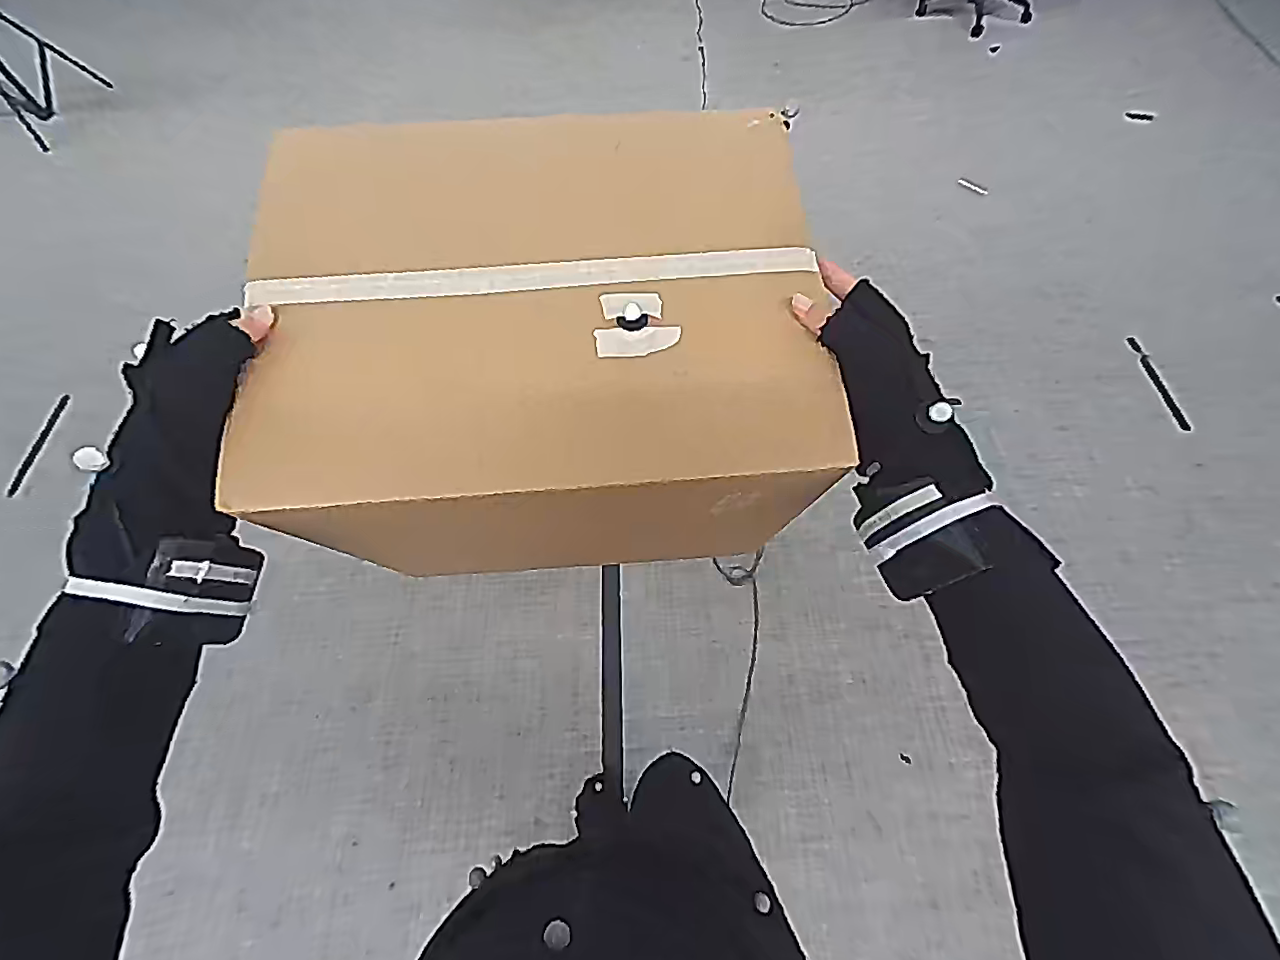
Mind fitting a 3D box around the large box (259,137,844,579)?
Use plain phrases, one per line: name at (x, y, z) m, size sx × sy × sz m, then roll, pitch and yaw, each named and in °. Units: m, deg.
large box at (-0.071, -0.090, 0.551) m, size 0.408 × 0.320 × 0.320 m, roll -4°, pitch 72°, yaw -2°
